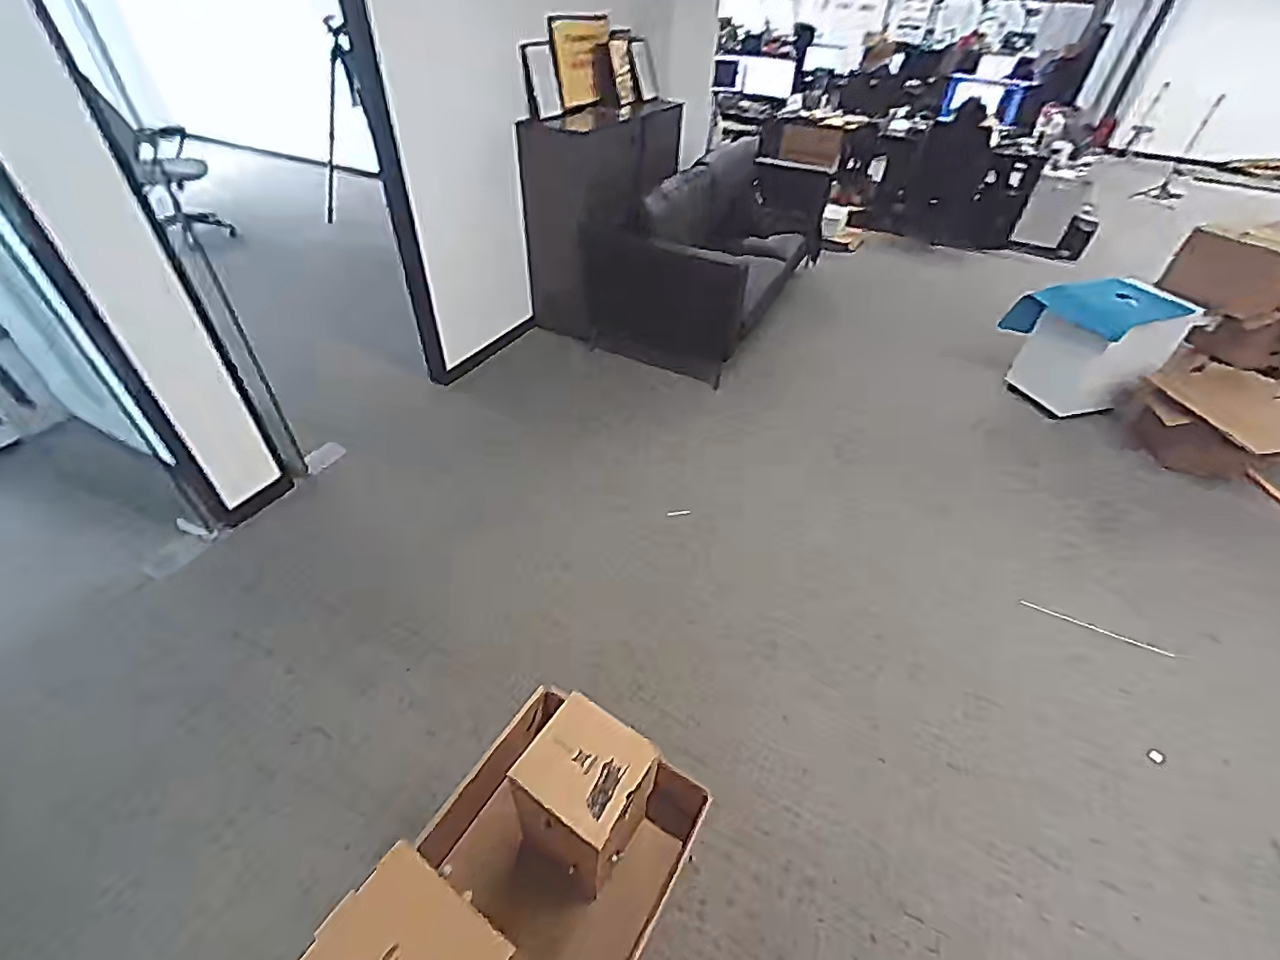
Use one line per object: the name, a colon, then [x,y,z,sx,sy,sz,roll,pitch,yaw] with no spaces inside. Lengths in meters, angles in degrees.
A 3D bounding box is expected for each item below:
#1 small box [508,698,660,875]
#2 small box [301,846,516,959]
small box: [-0.086,0.501,0.880,0.179,0.176,0.168,25,46,23]
small box: [-0.244,0.546,0.574,0.179,0.176,0.168,26,47,23]
